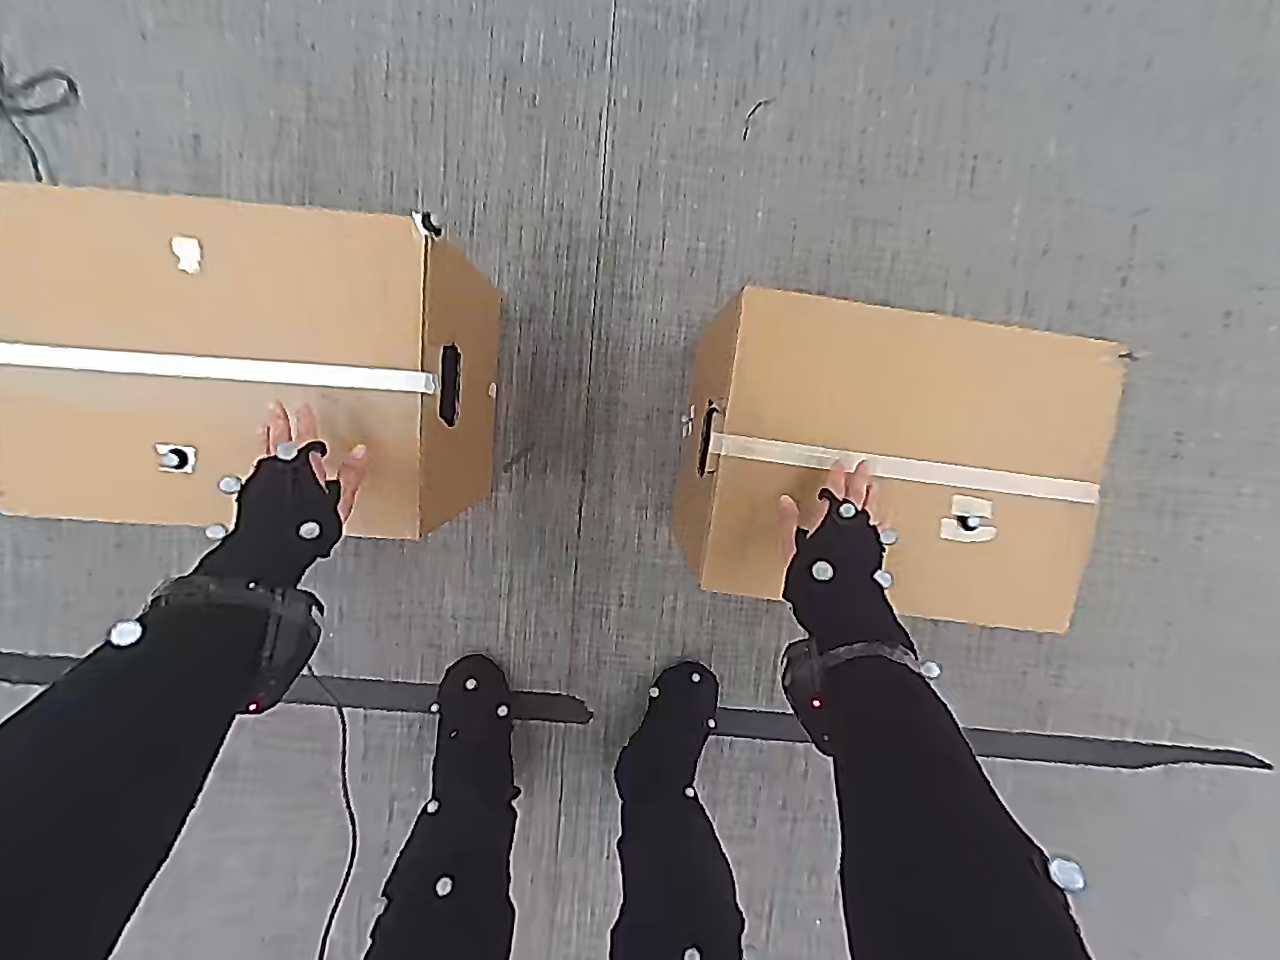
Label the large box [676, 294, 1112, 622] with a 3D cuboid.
[{"bbox_3d":[0.277,-0.029,0.719,0.408,0.320,0.320,8,96,-4],"label":"large box"}]
